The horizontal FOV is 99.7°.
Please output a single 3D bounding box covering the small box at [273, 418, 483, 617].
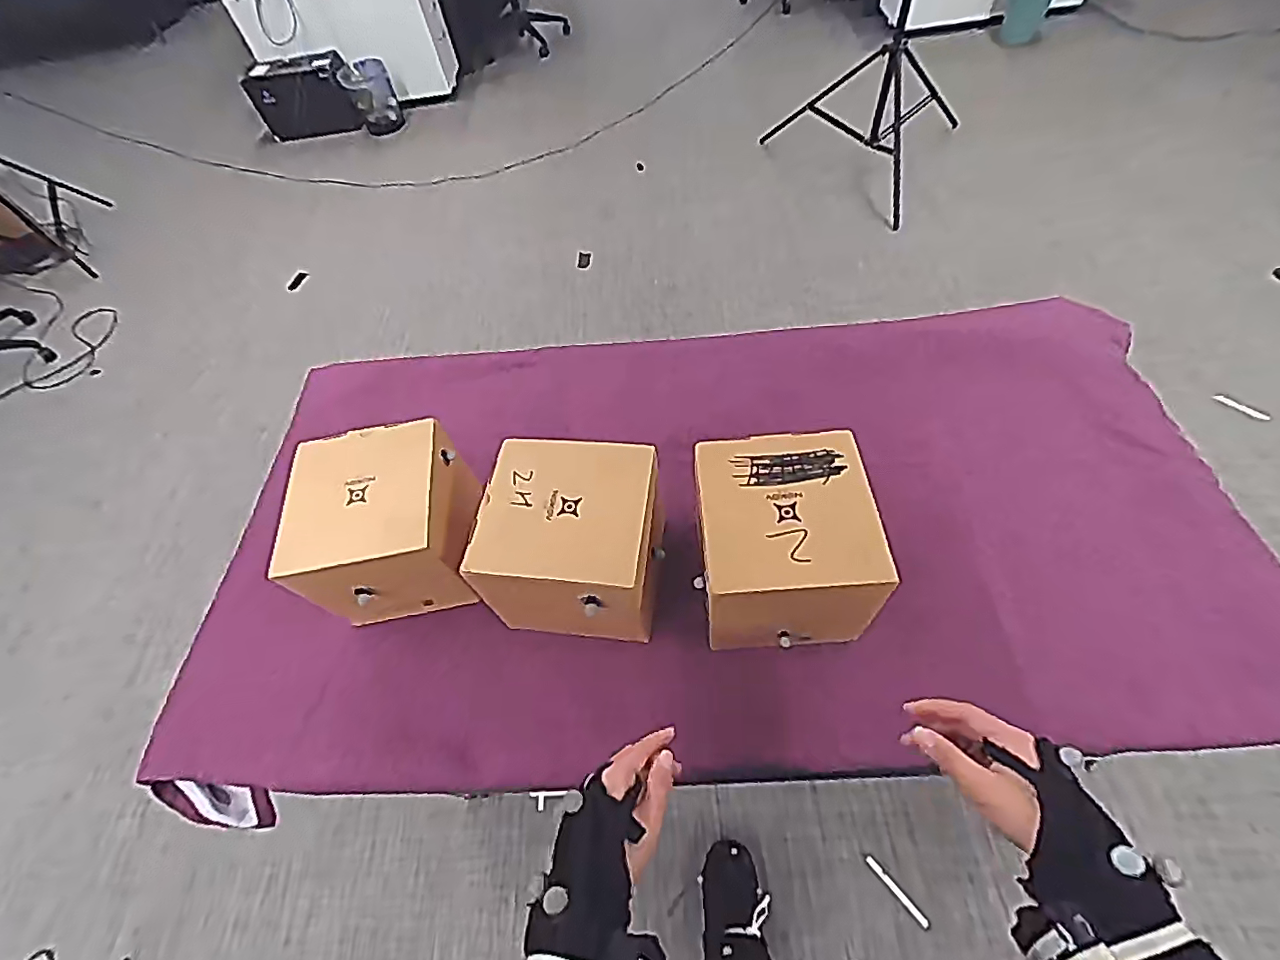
[{"bbox_3d":[-0.300,0.056,0.661,0.168,0.176,0.179,-12,57,-1],"label":"small box"}]
